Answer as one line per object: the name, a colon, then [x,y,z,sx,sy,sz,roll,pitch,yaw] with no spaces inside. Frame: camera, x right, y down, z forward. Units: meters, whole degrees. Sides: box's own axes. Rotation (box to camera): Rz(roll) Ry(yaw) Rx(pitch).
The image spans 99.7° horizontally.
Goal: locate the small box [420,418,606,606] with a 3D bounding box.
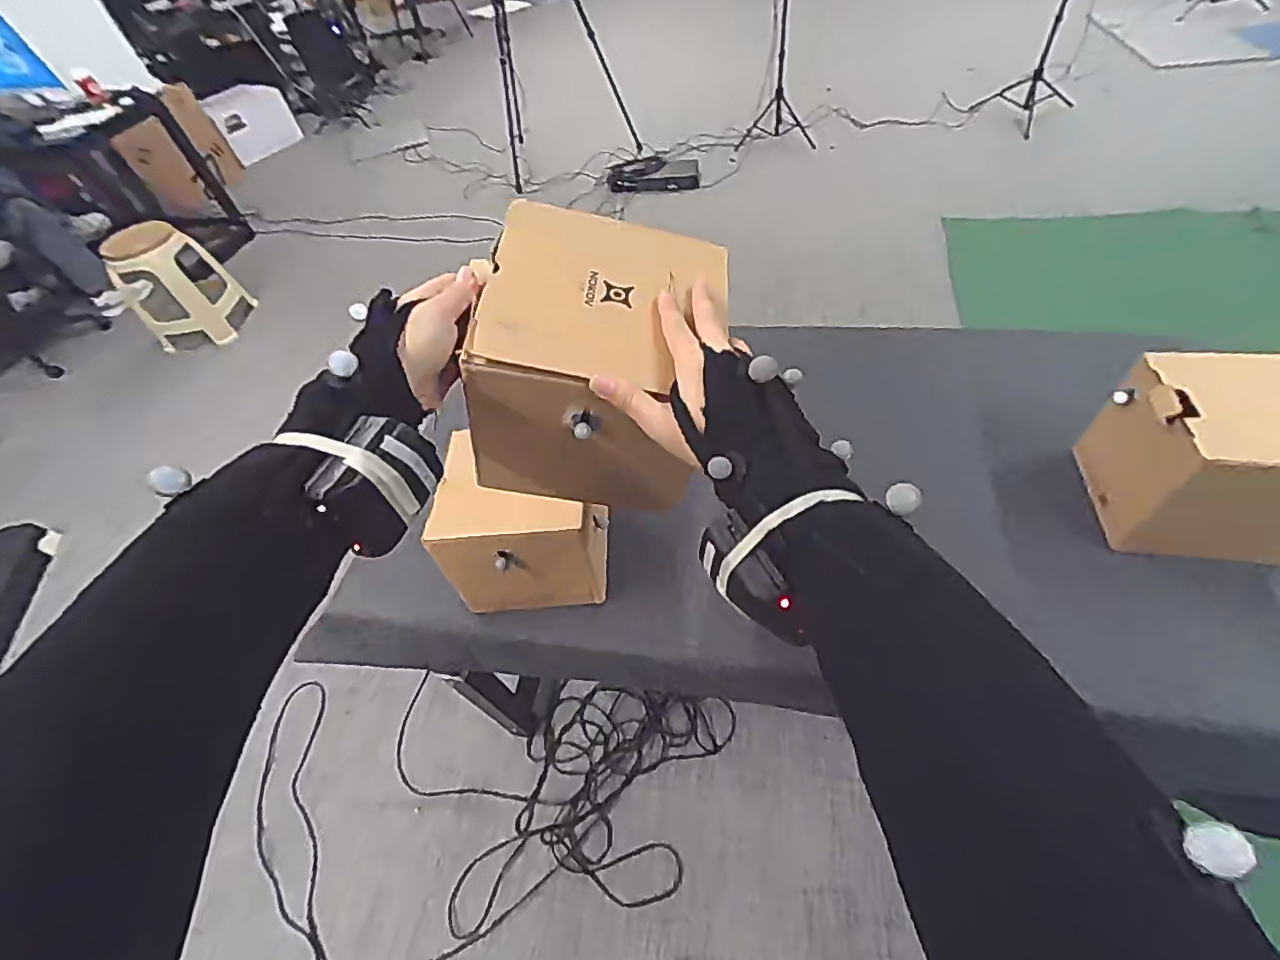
small box: [-0.140,0.044,0.675,0.179,0.176,0.168,-5,50,5]
